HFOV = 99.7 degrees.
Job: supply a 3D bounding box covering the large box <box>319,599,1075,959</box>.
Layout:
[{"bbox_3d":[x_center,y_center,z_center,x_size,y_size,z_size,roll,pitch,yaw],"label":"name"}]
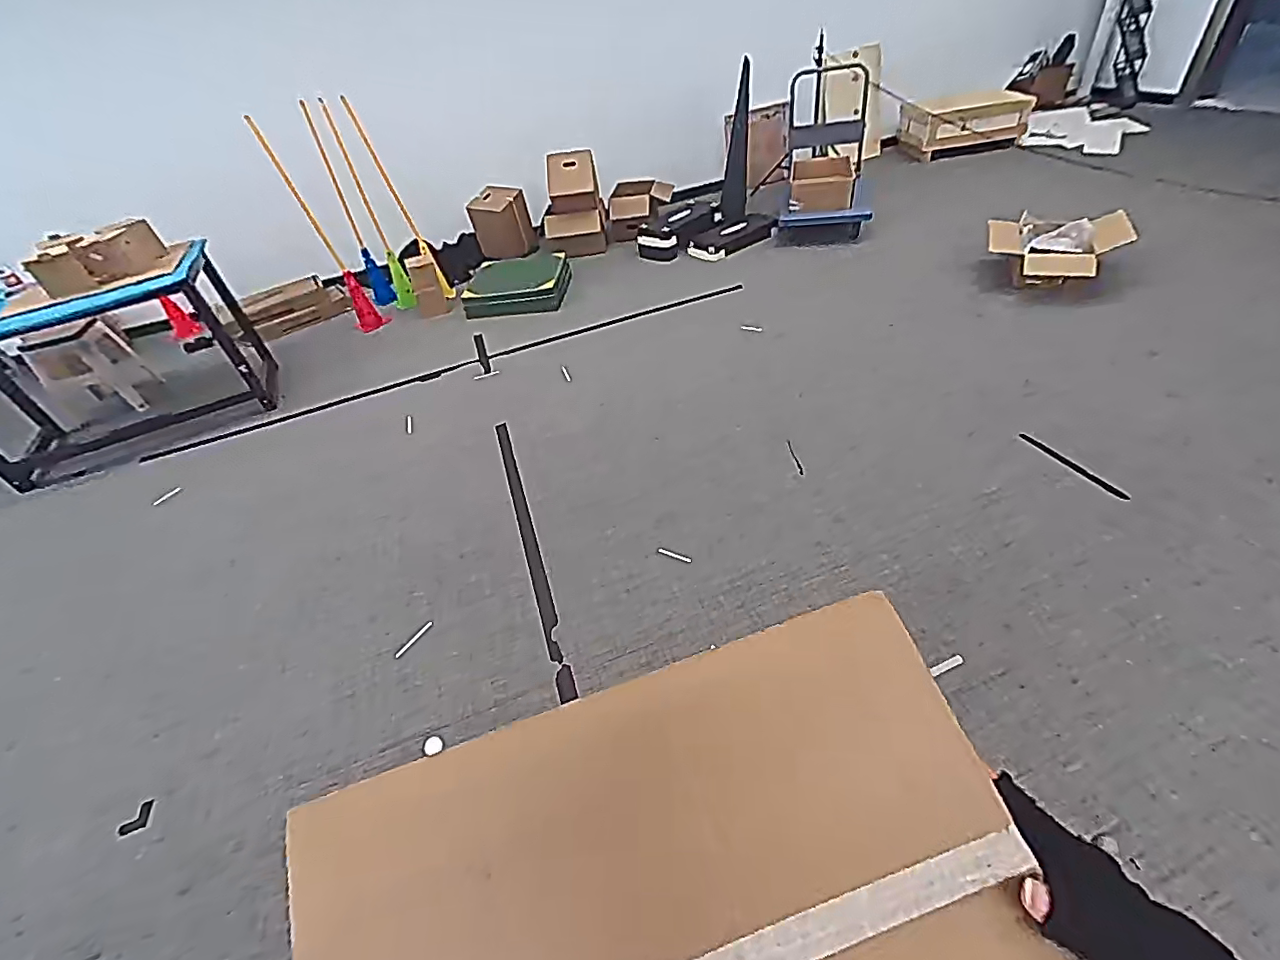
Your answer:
[{"bbox_3d":[0.039,0.341,0.432,0.408,0.320,0.320,-19,66,-5],"label":"large box"}]
